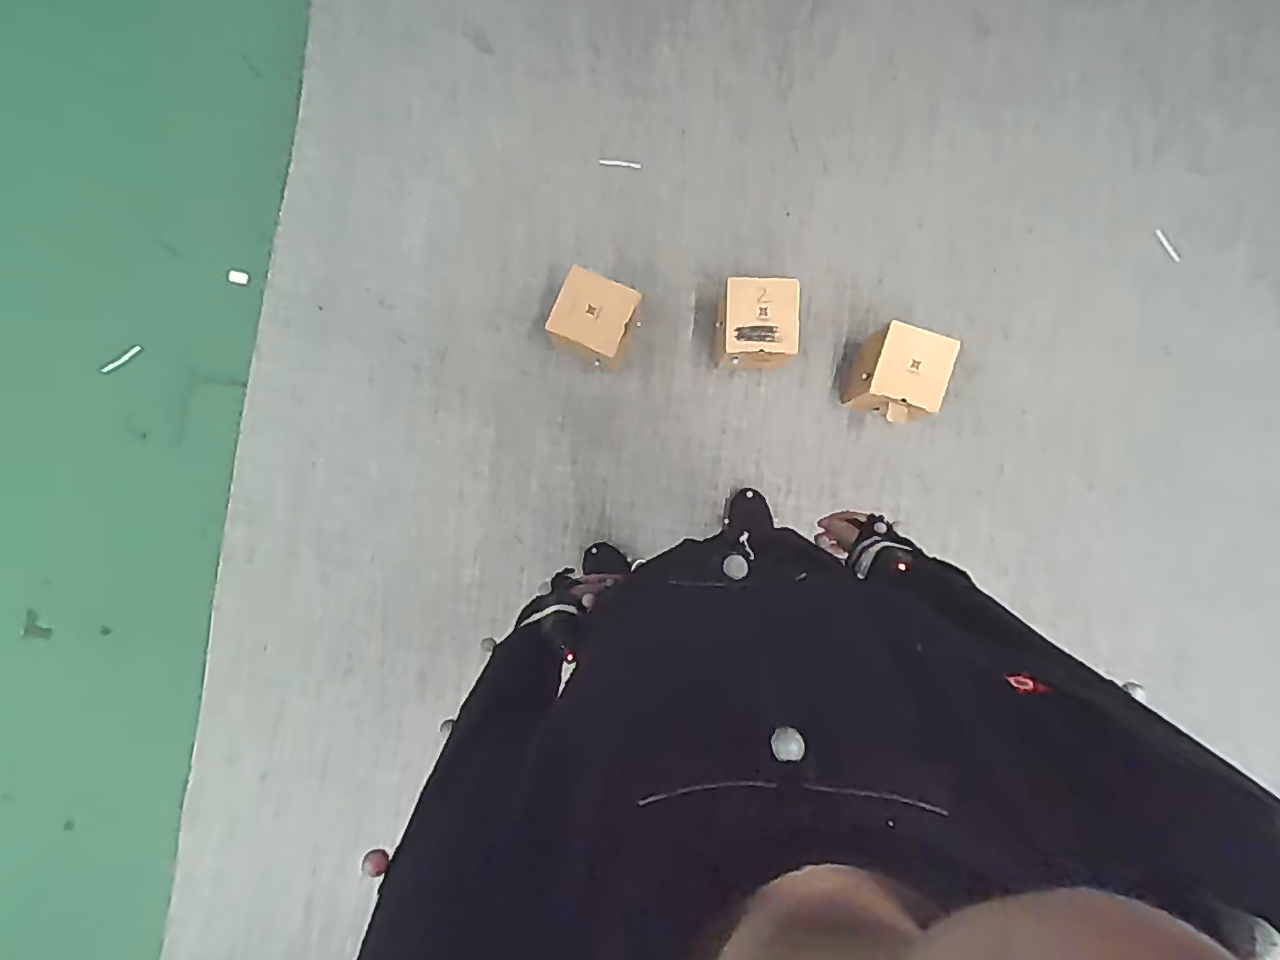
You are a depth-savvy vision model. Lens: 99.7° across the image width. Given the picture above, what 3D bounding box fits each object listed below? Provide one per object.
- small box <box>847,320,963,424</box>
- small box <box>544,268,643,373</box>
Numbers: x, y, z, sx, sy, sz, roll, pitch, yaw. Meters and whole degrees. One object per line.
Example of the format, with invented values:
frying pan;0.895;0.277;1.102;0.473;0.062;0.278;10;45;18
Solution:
small box;0.617;-0.248;1.281;0.168;0.176;0.179;18;88;1
small box;-0.102;-0.371;1.293;0.179;0.176;0.168;22;88;5
